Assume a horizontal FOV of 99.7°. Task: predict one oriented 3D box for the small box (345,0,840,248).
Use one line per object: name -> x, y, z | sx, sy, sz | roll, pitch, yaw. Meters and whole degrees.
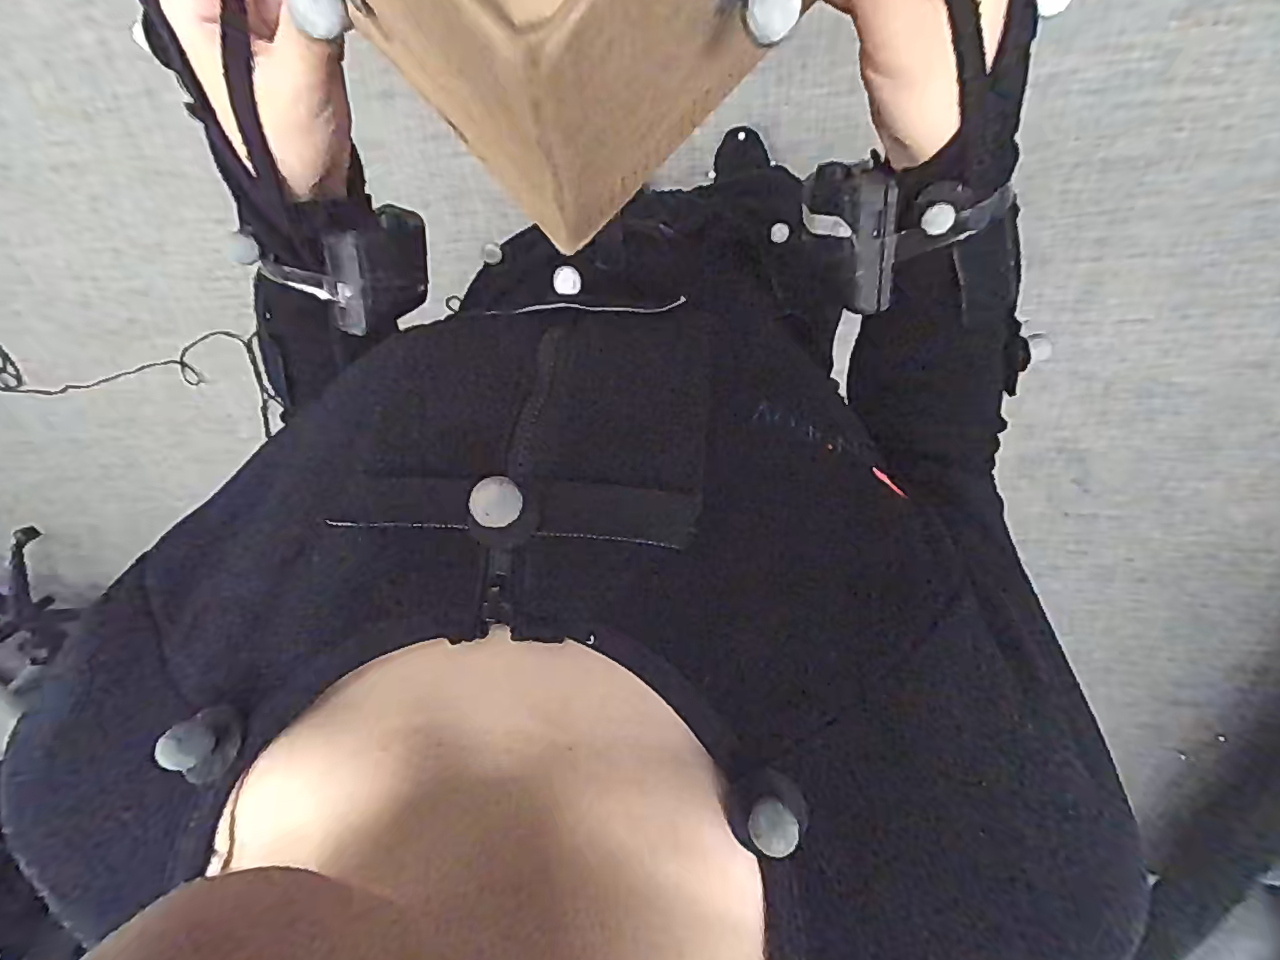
small box -> -0.014, -0.194, 0.148 | 0.179, 0.176, 0.168 | -44, 103, 7
